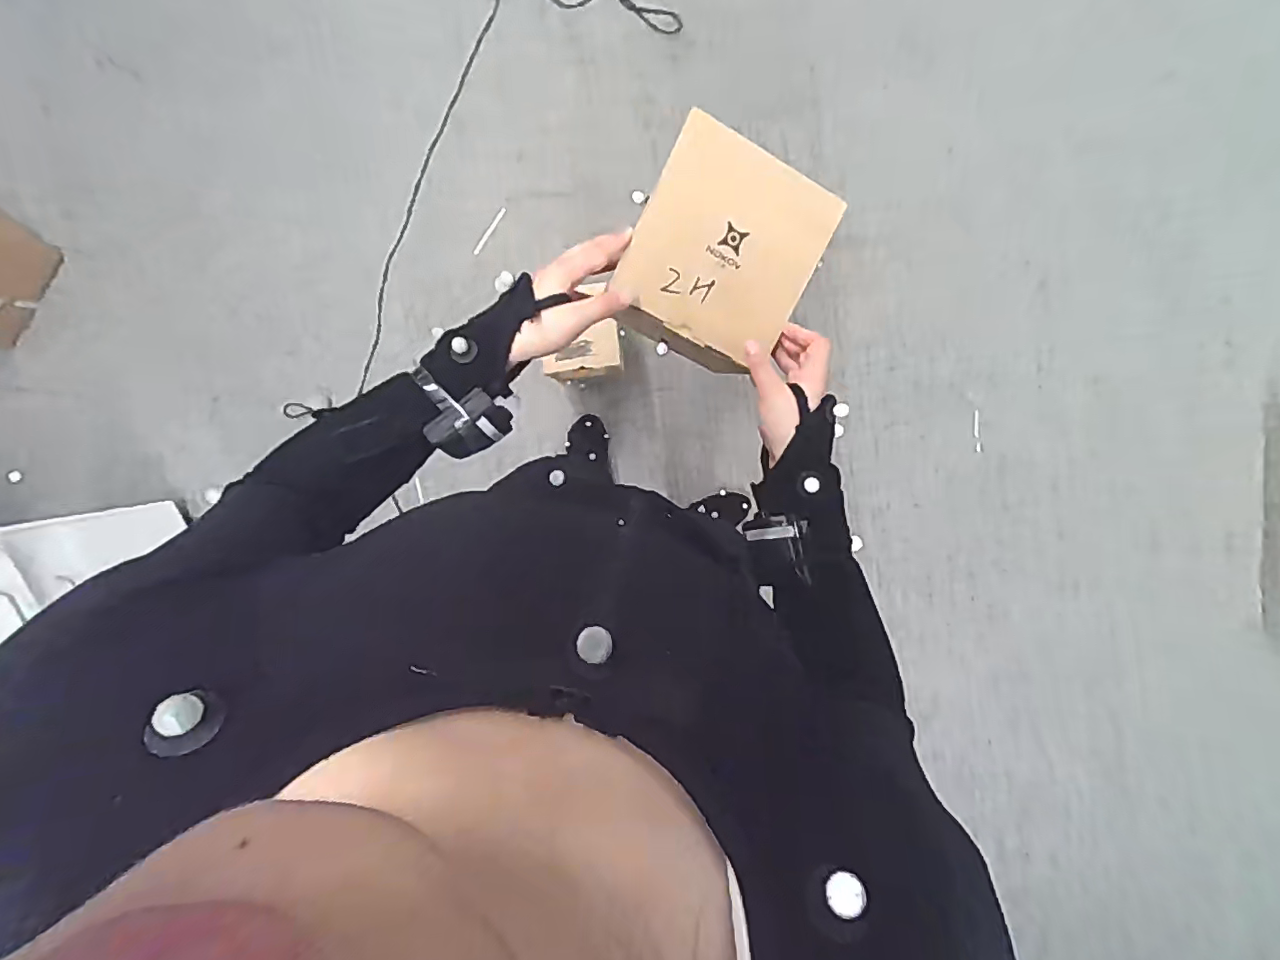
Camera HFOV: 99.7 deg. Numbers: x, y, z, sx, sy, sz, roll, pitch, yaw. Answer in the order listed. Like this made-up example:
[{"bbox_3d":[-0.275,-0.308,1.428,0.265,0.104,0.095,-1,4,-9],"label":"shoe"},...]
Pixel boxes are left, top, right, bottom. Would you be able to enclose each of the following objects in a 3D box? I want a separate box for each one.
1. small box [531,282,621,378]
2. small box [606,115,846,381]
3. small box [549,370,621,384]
[{"bbox_3d":[-0.135,-0.323,1.202,0.168,0.176,0.179,-5,94,2],"label":"small box"},{"bbox_3d":[0.071,-0.220,0.567,0.168,0.176,0.179,27,97,-11],"label":"small box"},{"bbox_3d":[-0.142,-0.337,1.366,0.168,0.176,0.179,-6,95,2],"label":"small box"}]
